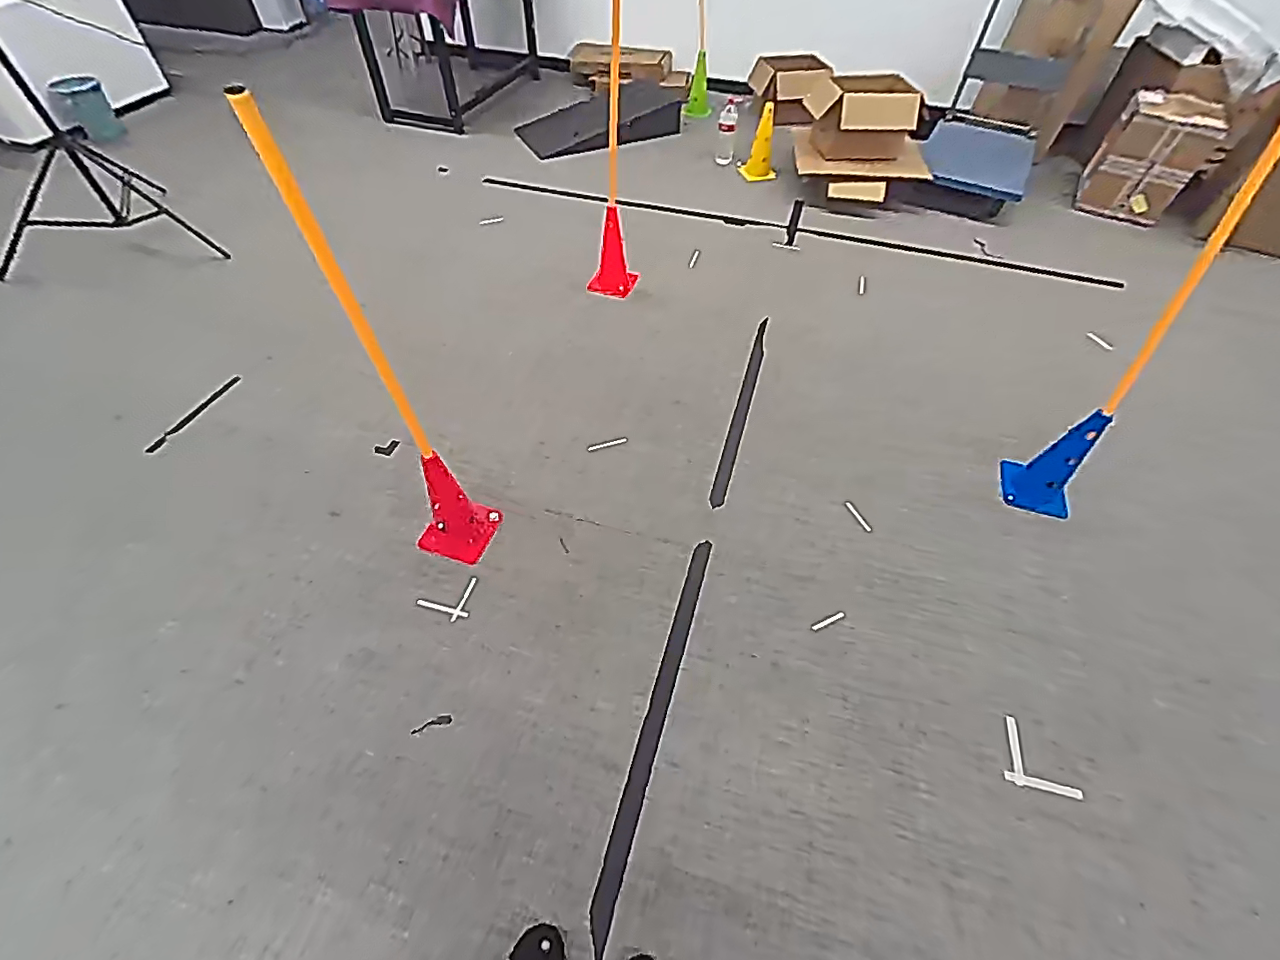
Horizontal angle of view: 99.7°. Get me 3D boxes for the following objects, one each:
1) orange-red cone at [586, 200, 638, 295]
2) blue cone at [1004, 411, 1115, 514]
[{"bbox_3d":[-0.122,-1.022,2.335,0.198,0.360,0.199,17,53,11],"label":"orange-red cone"},{"bbox_3d":[1.322,-0.079,1.676,0.193,0.380,0.192,17,54,11],"label":"blue cone"}]
